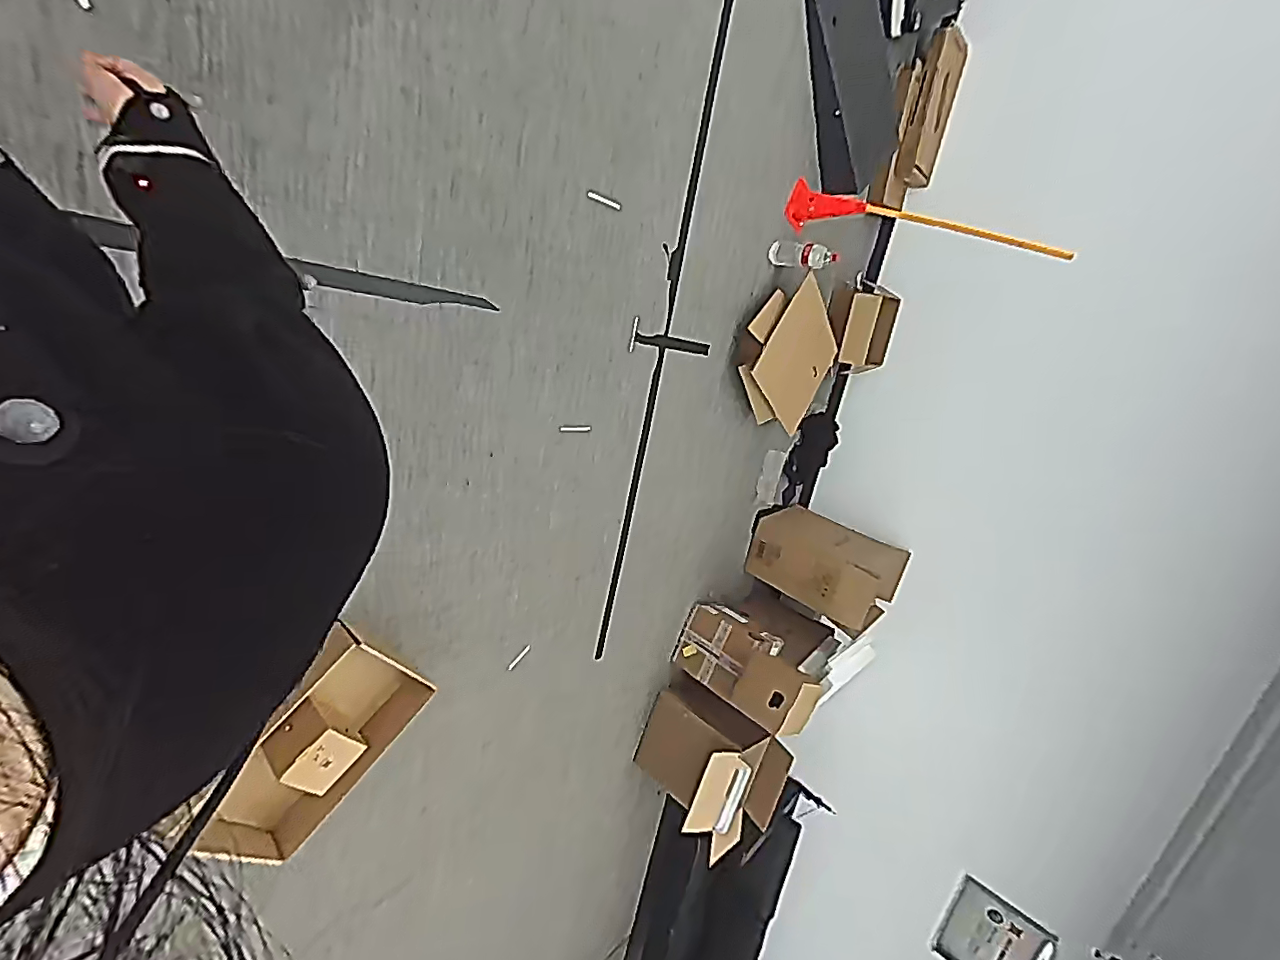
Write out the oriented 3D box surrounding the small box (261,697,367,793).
[{"bbox_3d":[-0.945,0.764,1.570,0.168,0.176,0.179,-48,140,-23],"label":"small box"}]
